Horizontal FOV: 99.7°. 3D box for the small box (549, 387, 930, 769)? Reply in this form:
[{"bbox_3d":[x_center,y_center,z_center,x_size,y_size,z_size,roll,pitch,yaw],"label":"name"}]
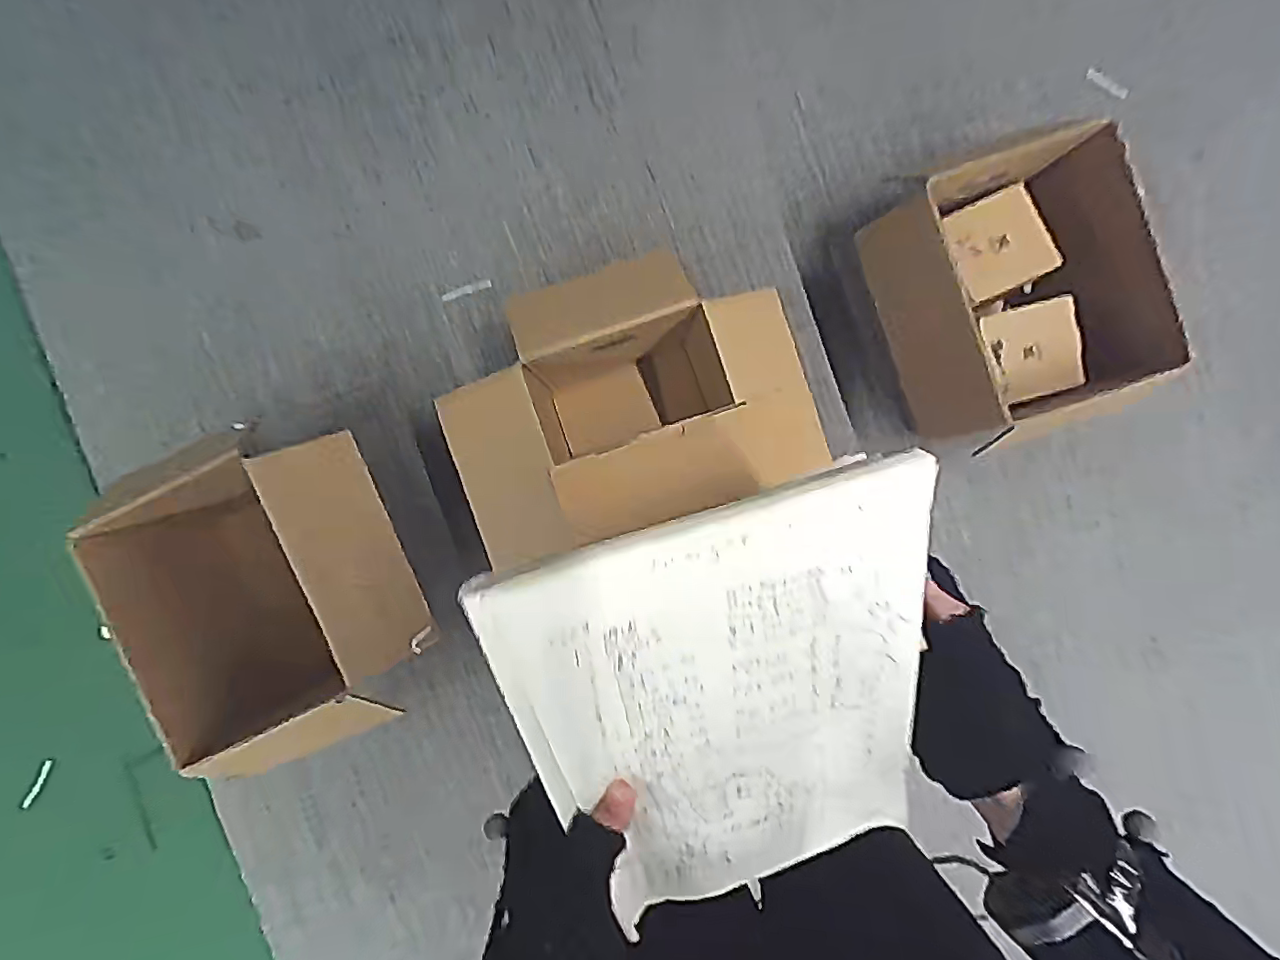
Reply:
[{"bbox_3d":[0.053,0.070,0.379,0.168,0.176,0.179,-20,70,-5],"label":"small box"}]
